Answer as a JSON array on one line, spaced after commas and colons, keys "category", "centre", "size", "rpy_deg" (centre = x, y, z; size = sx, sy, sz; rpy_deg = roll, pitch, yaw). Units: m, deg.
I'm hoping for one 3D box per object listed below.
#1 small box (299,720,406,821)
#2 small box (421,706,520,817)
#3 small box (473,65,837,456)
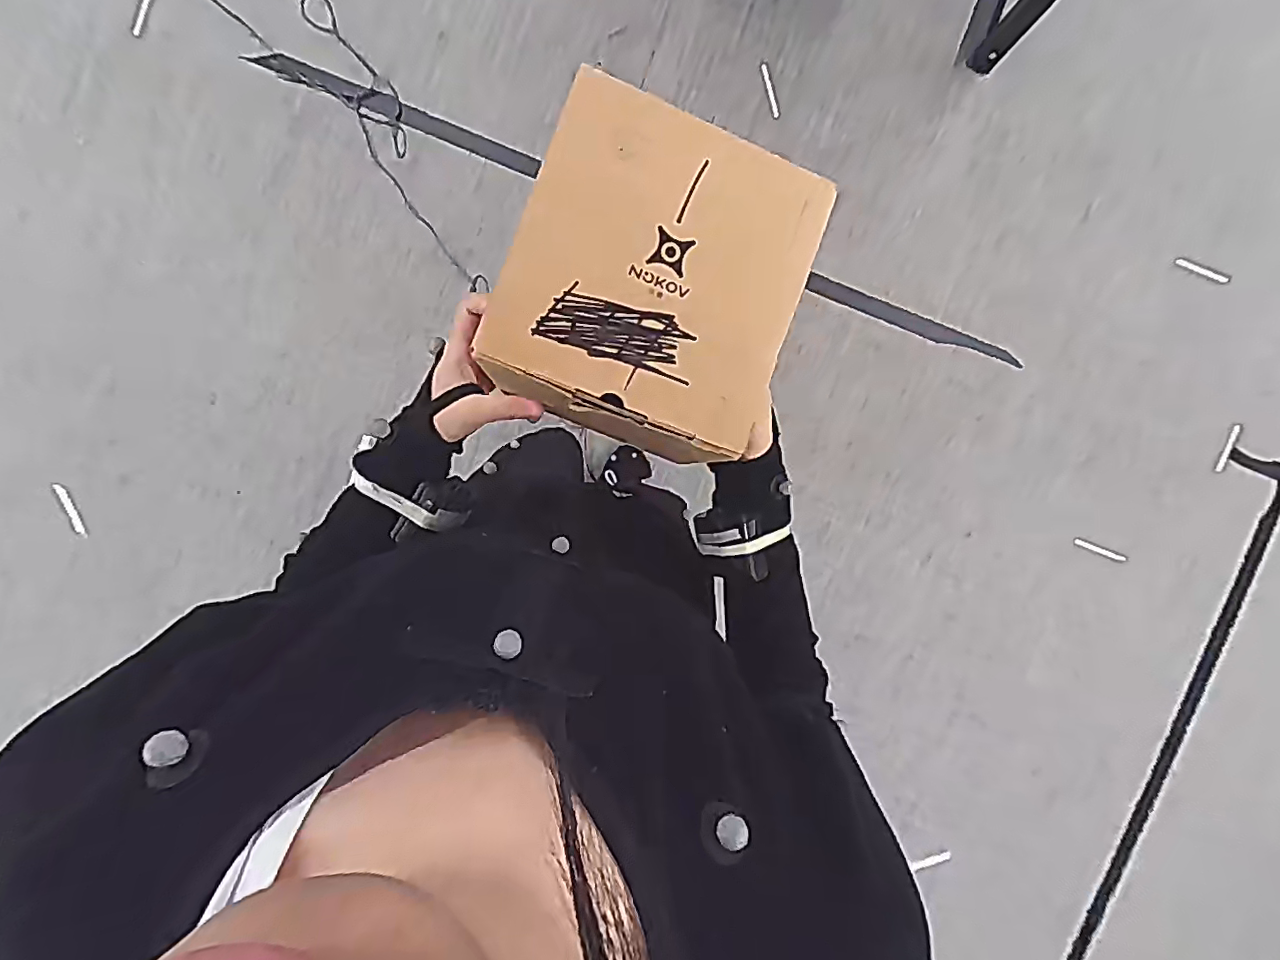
[{"category": "small box", "centre": [-0.754, 0.754, 1.433], "size": [0.179, 0.176, 0.168], "rpy_deg": [15, 94, -1]}, {"category": "small box", "centre": [-0.438, 0.736, 1.434], "size": [0.179, 0.176, 0.168], "rpy_deg": [28, 92, -4]}, {"category": "small box", "centre": [0.003, -0.123, 0.386], "size": [0.168, 0.176, 0.179], "rpy_deg": [21, 87, -8]}]
